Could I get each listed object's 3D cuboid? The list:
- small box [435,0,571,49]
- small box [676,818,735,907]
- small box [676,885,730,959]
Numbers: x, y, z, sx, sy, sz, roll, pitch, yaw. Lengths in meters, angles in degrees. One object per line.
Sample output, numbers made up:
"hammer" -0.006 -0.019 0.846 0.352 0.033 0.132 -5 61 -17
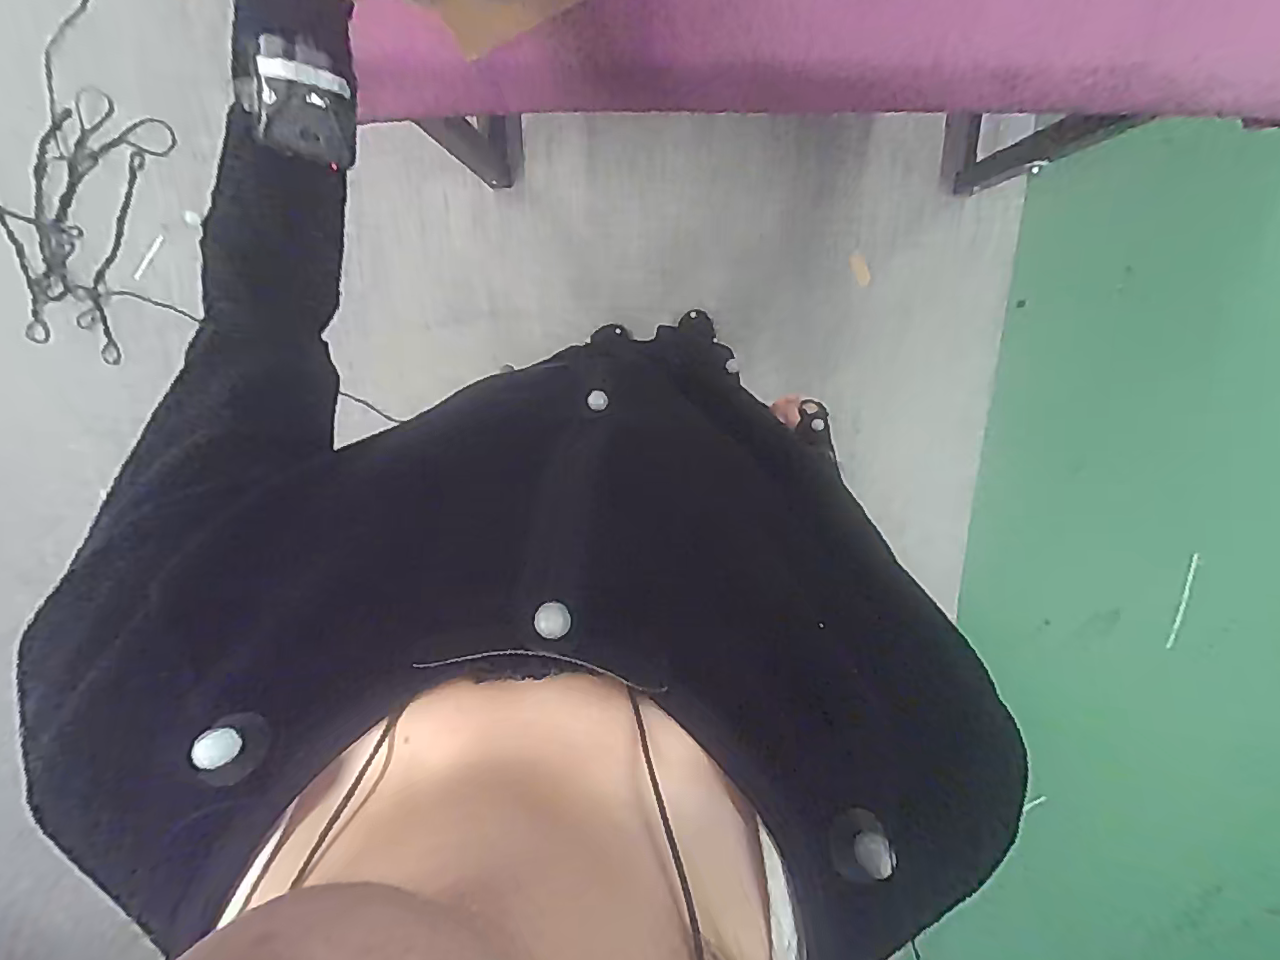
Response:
"small box" -0.157 -0.578 0.528 0.179 0.176 0.168 -23 104 8
"small box" 0.209 1.252 1.776 0.168 0.176 0.179 5 106 1
"small box" 0.212 1.506 1.850 0.168 0.176 0.179 1 106 1
